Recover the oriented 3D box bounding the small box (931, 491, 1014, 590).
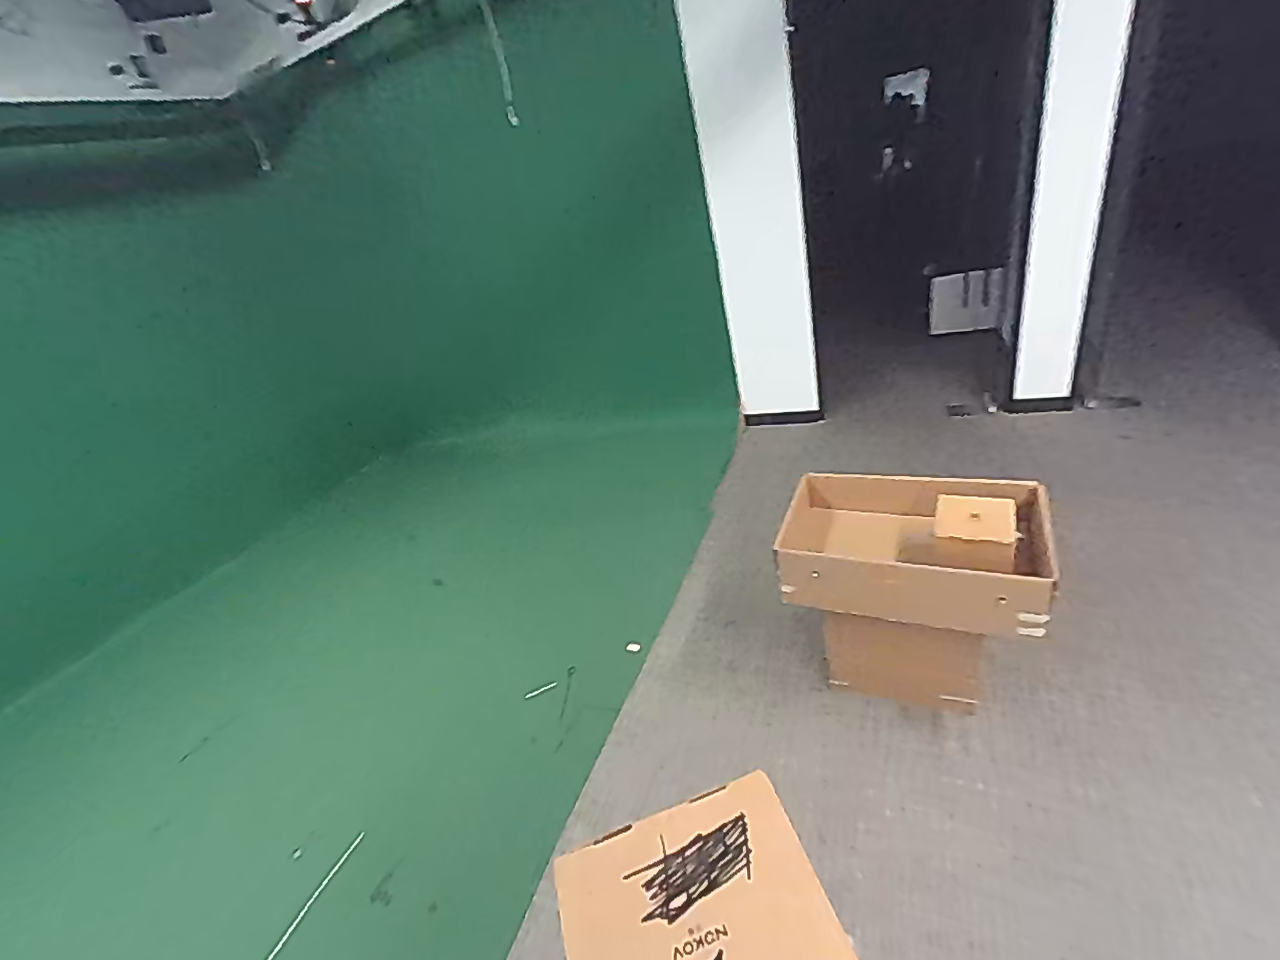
[{"bbox_3d":[0.836,0.148,1.364,0.168,0.176,0.179,3,36,31],"label":"small box"}]

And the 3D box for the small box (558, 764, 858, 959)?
[{"bbox_3d":[0.055,0.345,0.376,0.168,0.176,0.179,-20,39,-6],"label":"small box"}]
